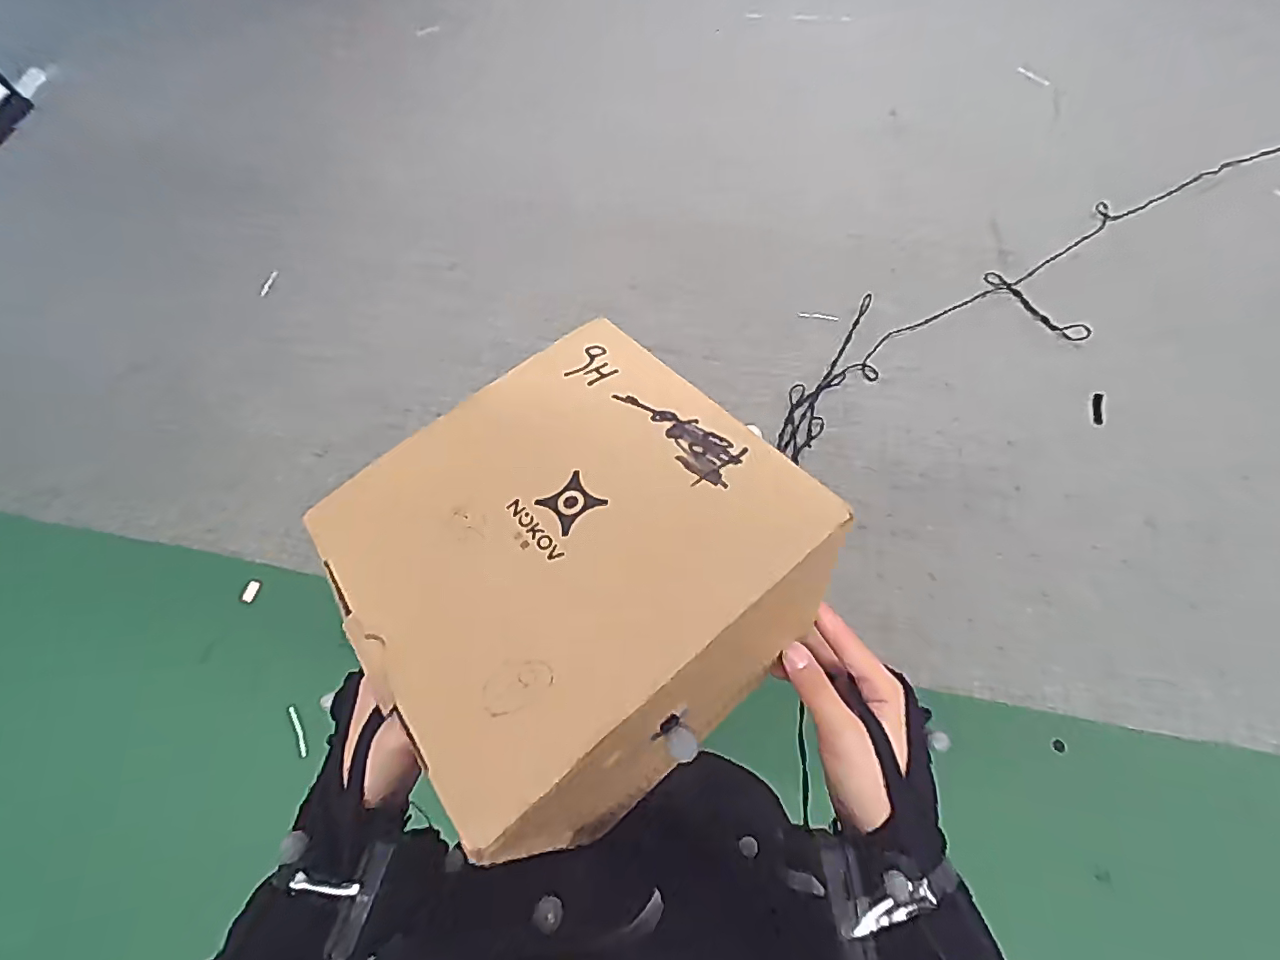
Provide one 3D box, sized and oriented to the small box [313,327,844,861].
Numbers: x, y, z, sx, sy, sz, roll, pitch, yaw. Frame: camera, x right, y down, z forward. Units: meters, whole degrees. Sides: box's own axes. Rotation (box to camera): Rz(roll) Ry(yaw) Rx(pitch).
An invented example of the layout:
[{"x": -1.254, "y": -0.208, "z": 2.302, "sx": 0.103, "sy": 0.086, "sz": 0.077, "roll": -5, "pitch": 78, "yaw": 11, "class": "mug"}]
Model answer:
[{"x": -0.021, "y": 0.062, "z": 0.290, "sx": 0.179, "sy": 0.176, "sz": 0.168, "roll": -38, "pitch": 59, "yaw": -13, "class": "small box"}]
